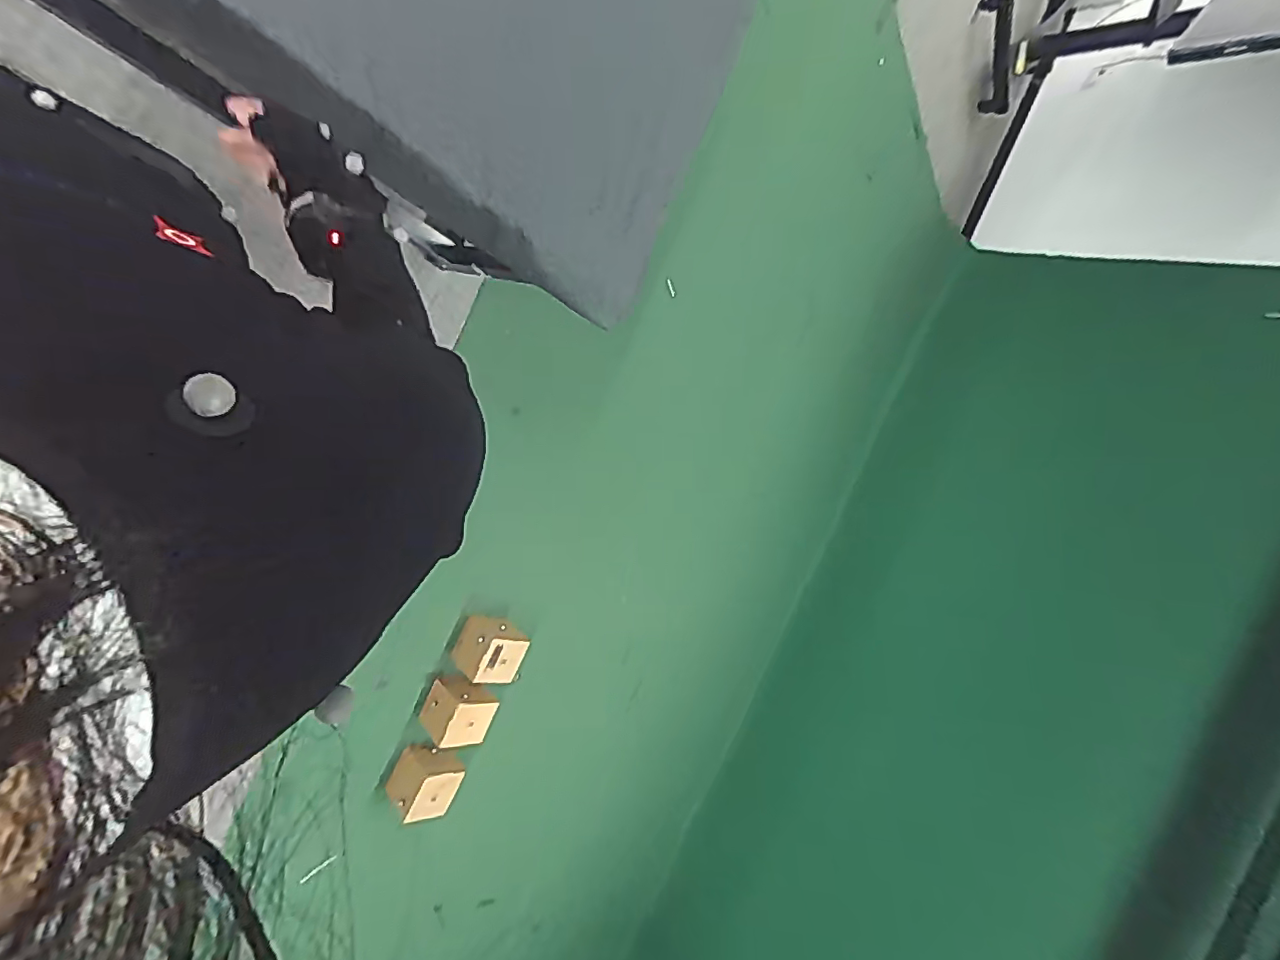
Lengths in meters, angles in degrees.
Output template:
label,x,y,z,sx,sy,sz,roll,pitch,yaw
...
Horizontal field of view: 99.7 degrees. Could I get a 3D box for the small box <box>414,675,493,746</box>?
label,x,y,z,sx,sy,sz,roll,pitch,yaw
small box,-0.665,0.814,1.926,0.179,0.176,0.168,24,92,-49

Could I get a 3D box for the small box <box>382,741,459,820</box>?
label,x,y,z,sx,sy,sz,roll,pitch,yaw
small box,-0.786,1.061,1.921,0.168,0.176,0.179,28,88,-50
